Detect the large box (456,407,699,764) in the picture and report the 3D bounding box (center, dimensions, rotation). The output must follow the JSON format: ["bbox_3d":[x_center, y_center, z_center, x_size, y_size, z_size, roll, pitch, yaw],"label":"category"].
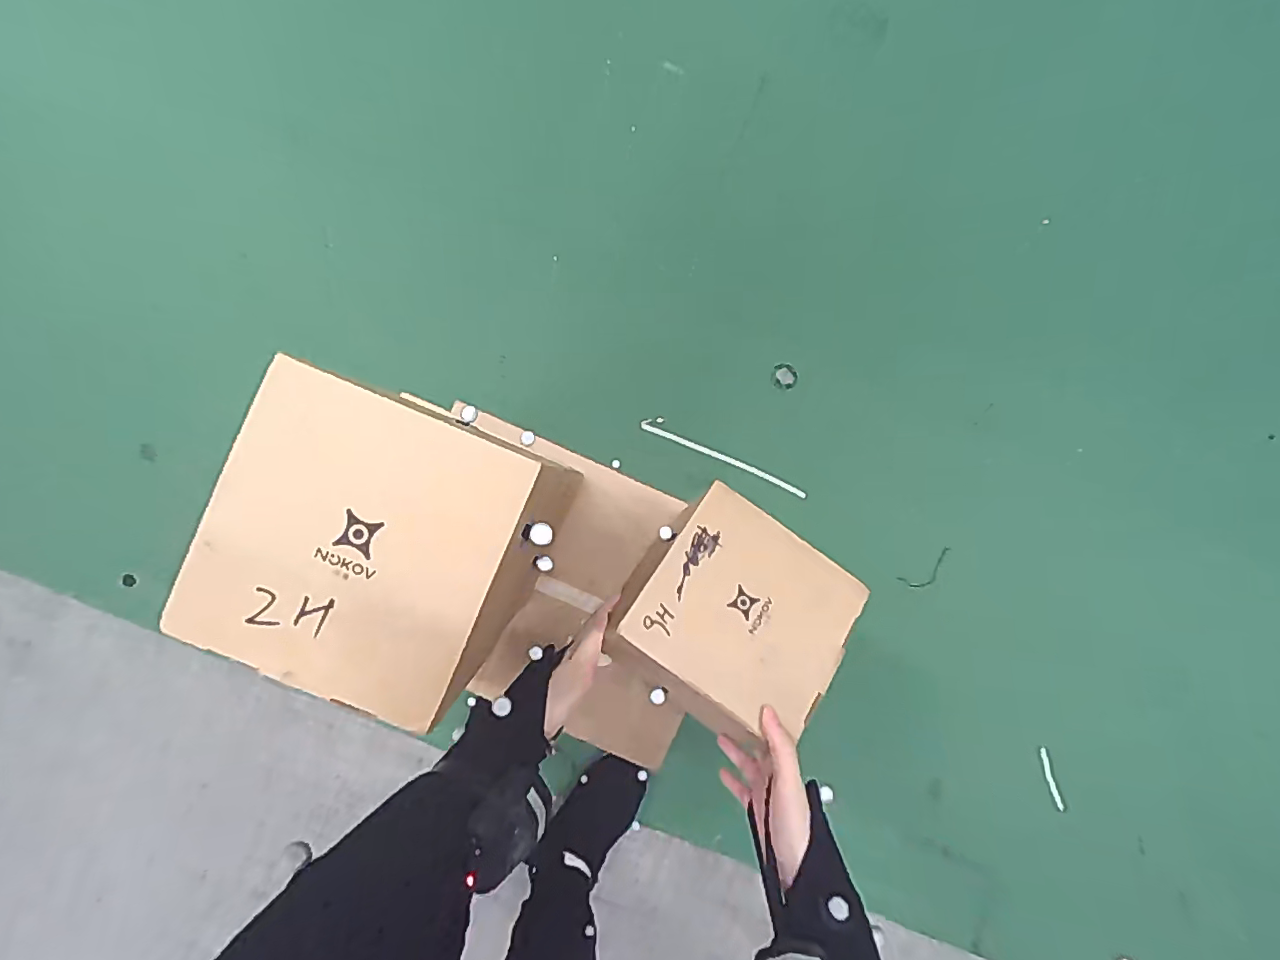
[{"bbox_3d":[-0.101,0.128,0.792,0.408,0.320,0.320,24,89,-2],"label":"large box"}]

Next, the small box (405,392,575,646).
[{"bbox_3d":[-0.173,0.035,0.549,0.168,0.176,0.179,24,88,-1],"label":"small box"}]

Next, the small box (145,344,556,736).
[{"bbox_3d":[-0.169,0.036,0.384,0.168,0.176,0.179,24,87,-1],"label":"small box"}]

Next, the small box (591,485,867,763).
[{"bbox_3d":[0.074,0.136,0.528,0.179,0.176,0.168,37,67,1],"label":"small box"}]
